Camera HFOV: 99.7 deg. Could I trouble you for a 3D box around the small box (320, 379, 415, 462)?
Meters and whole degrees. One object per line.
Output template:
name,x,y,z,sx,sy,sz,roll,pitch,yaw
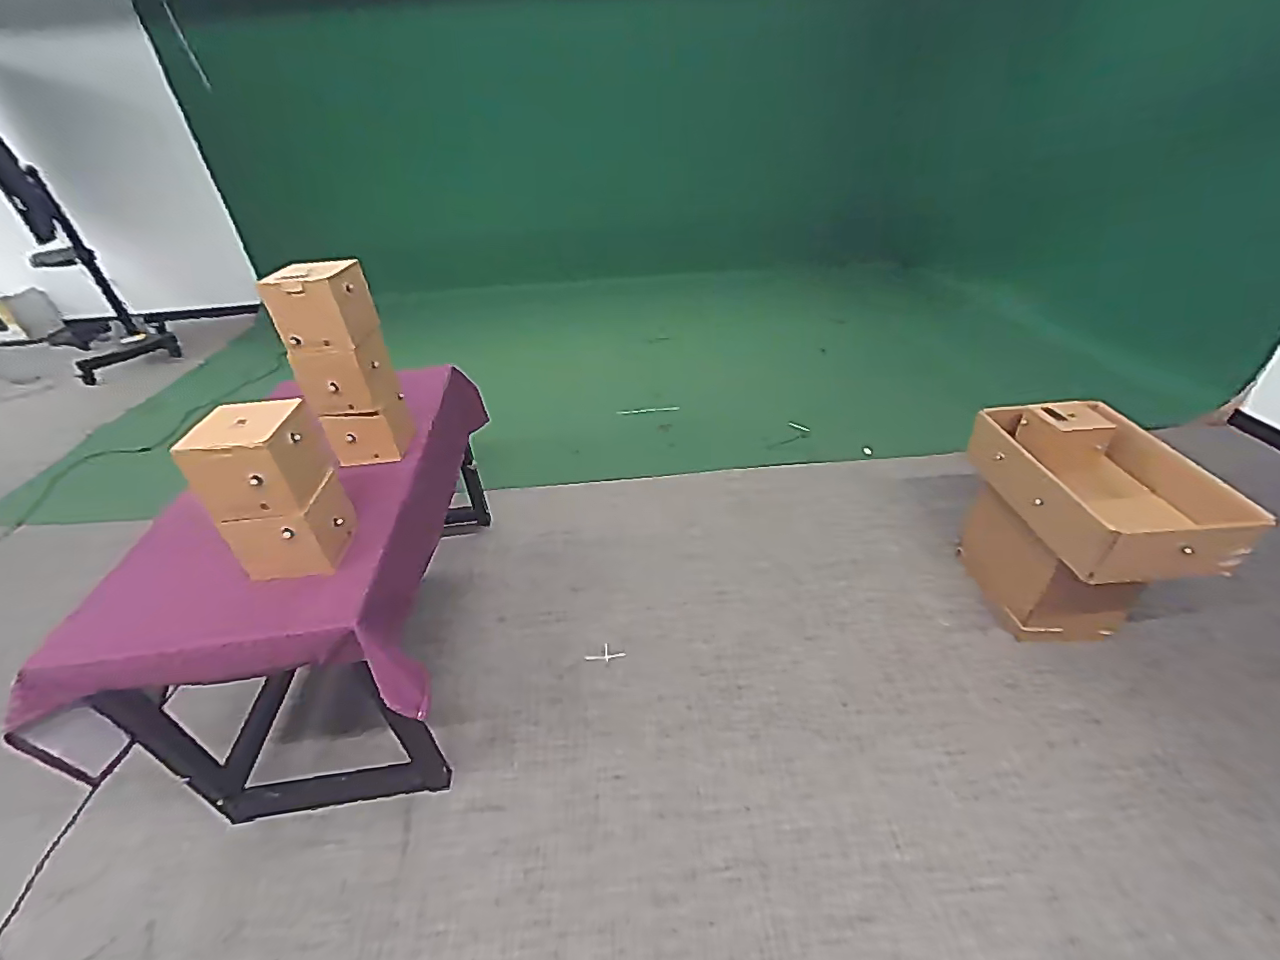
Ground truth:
small box,-0.750,-0.162,1.511,0.168,0.176,0.179,-6,36,-2

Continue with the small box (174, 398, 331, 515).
small box,-0.750,-0.043,1.074,0.168,0.176,0.179,-5,36,-3

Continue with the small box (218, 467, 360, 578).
small box,-0.738,0.091,1.166,0.179,0.176,0.168,-6,36,-1

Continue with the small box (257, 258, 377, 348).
small box,-0.770,-0.427,1.317,0.168,0.176,0.179,-4,35,1

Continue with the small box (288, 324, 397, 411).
small box,-0.760,-0.289,1.408,0.168,0.176,0.179,-4,37,1
